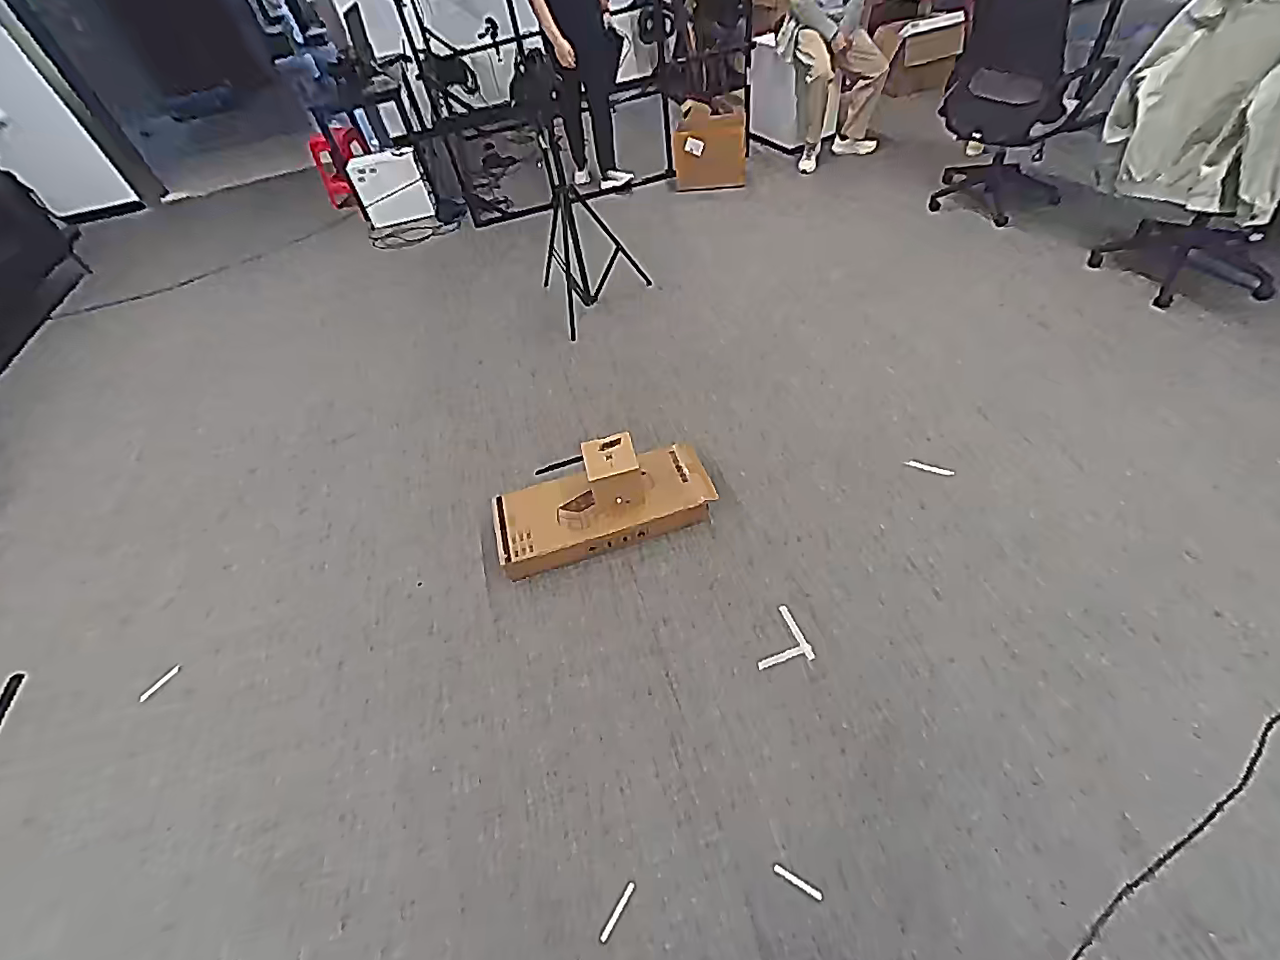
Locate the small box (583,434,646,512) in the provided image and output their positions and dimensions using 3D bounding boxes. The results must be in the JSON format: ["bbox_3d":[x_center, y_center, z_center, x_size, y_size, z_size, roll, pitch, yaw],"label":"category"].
[{"bbox_3d":[-0.084,-0.021,1.795,0.168,0.176,0.179,-15,49,-2],"label":"small box"}]
